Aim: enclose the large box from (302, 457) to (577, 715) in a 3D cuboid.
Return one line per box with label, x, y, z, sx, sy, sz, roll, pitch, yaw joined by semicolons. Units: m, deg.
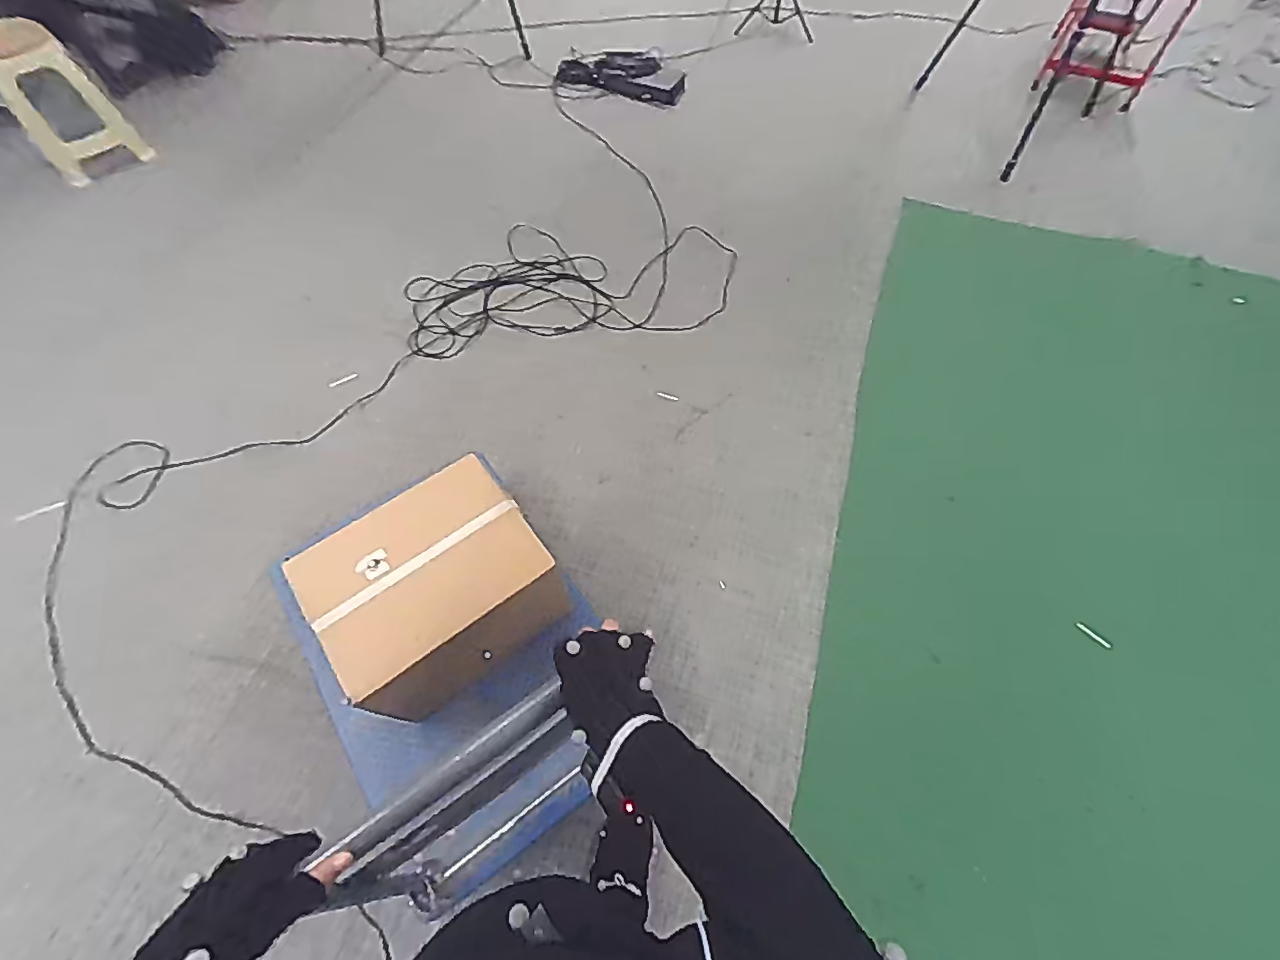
large box;-0.392;0.231;1.152;0.408;0.320;0.320;-35;66;-17
